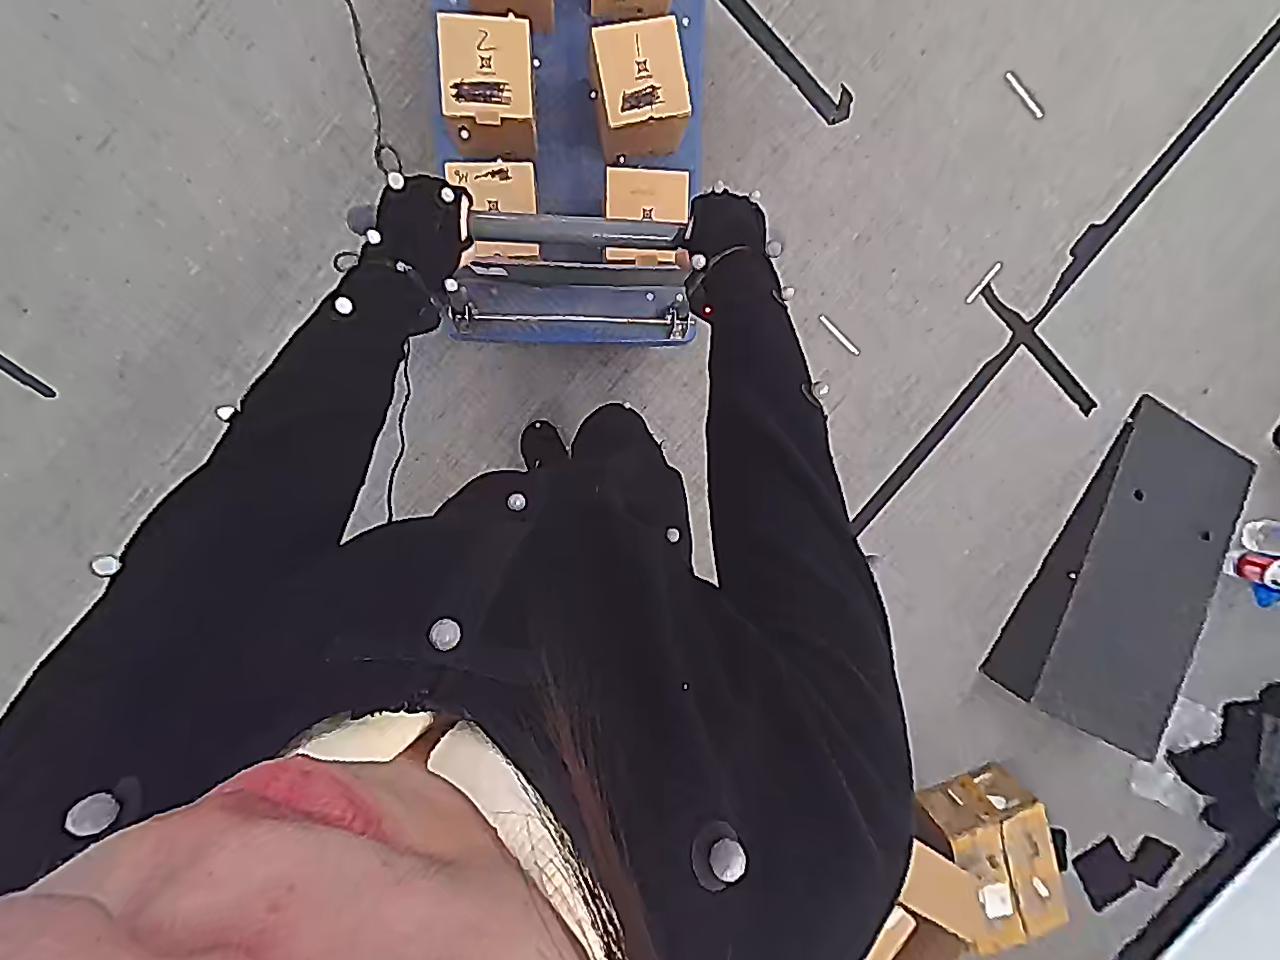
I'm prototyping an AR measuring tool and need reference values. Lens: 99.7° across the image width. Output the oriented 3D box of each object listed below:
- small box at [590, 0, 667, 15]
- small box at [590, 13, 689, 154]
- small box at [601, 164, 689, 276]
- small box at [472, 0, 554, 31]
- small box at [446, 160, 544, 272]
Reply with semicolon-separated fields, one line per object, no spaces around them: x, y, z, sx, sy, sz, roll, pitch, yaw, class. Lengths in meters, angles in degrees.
-0.021;-1.065;1.066;0.168;0.176;0.179;-4;99;-6;small box
-0.006;-0.796;1.108;0.168;0.176;0.179;-13;99;-5;small box
0.006;-0.542;1.151;0.168;0.176;0.179;0;98;-7;small box
-0.251;-1.026;1.042;0.168;0.176;0.179;1;99;-7;small box
-0.290;-0.533;1.114;0.168;0.176;0.179;-4;100;-7;small box
